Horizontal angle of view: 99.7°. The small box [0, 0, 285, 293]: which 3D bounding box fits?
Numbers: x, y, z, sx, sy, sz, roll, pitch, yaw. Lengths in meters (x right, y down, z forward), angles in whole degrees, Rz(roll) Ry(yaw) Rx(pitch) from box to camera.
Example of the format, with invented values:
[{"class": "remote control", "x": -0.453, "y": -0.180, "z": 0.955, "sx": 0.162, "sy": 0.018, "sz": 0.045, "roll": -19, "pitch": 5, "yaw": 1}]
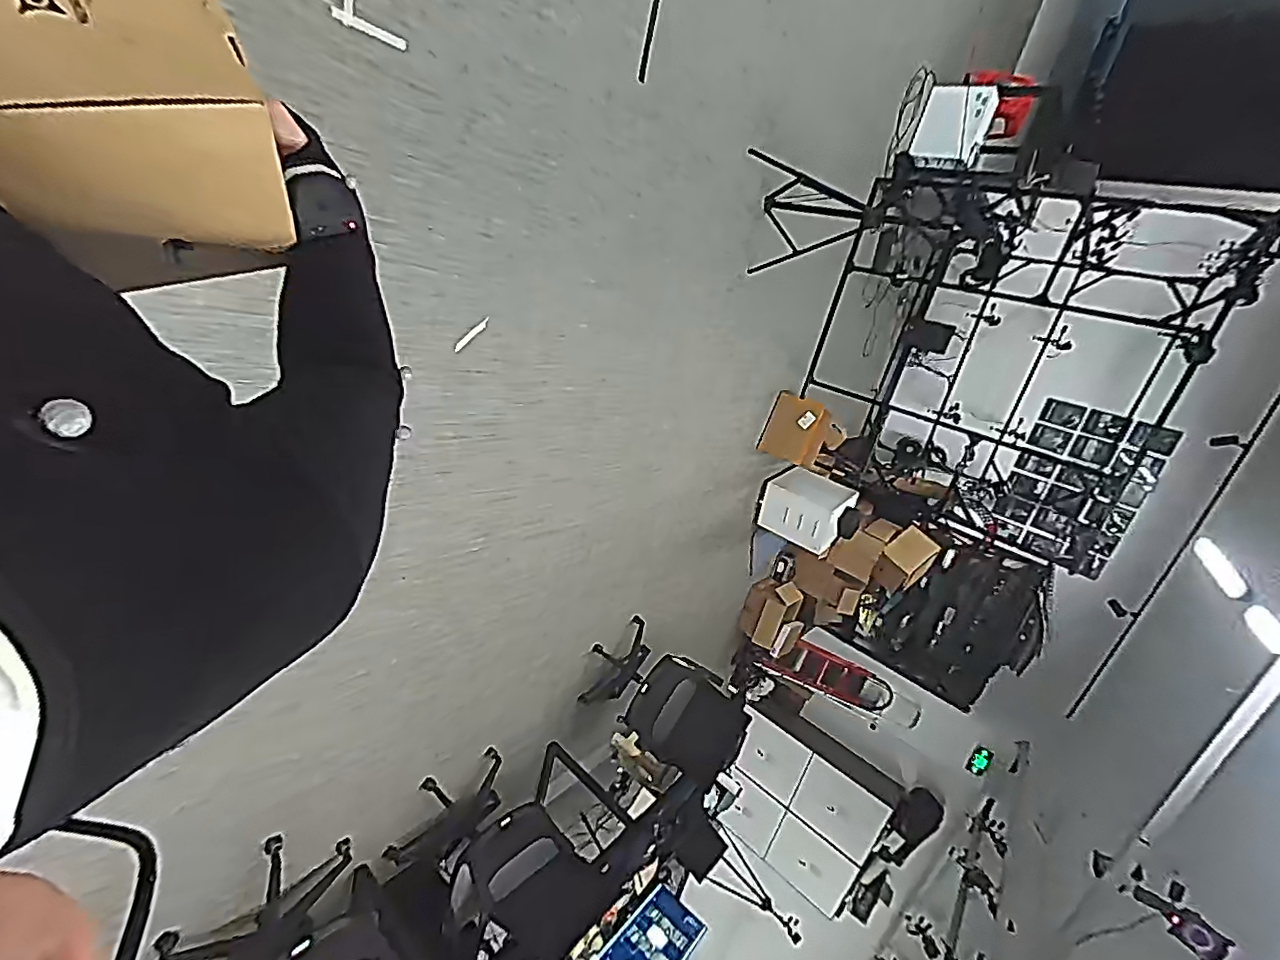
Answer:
[{"class": "small box", "x": -0.408, "y": -0.277, "z": 0.428, "sx": 0.179, "sy": 0.168, "sz": 0.176, "roll": -25, "pitch": 171, "yaw": -30}]
